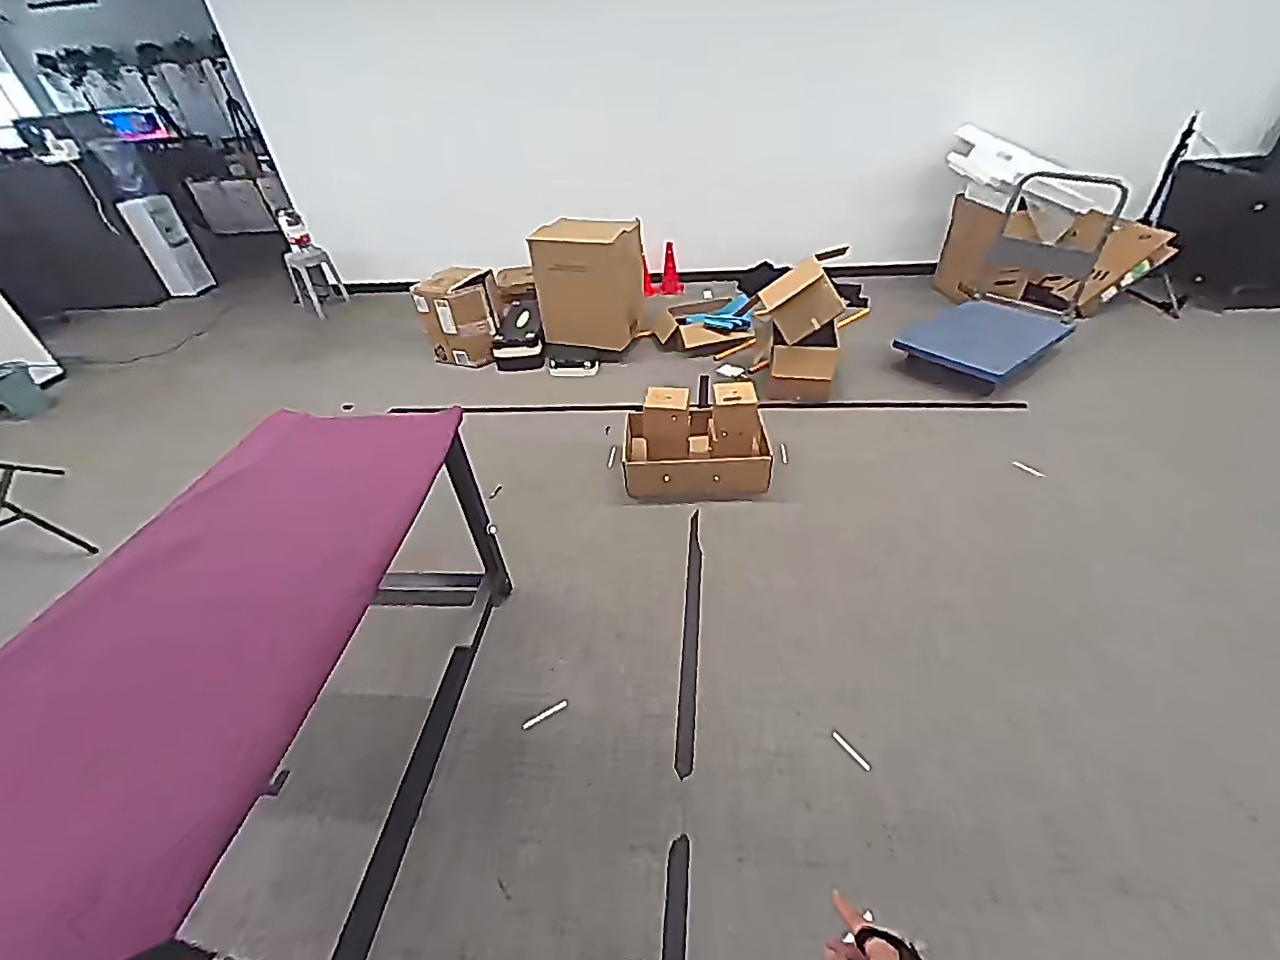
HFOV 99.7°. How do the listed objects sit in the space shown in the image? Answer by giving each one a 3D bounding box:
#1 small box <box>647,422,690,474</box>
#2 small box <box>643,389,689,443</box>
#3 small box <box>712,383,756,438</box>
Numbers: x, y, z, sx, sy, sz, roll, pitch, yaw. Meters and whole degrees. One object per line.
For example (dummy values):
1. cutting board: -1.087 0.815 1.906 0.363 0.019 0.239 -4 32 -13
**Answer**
1. small box: 0.126 -0.149 2.387 0.168 0.176 0.179 5 39 11
2. small box: 0.111 -0.267 2.271 0.179 0.176 0.168 4 39 9
3. small box: 0.391 -0.286 2.260 0.168 0.176 0.179 -3 37 4
